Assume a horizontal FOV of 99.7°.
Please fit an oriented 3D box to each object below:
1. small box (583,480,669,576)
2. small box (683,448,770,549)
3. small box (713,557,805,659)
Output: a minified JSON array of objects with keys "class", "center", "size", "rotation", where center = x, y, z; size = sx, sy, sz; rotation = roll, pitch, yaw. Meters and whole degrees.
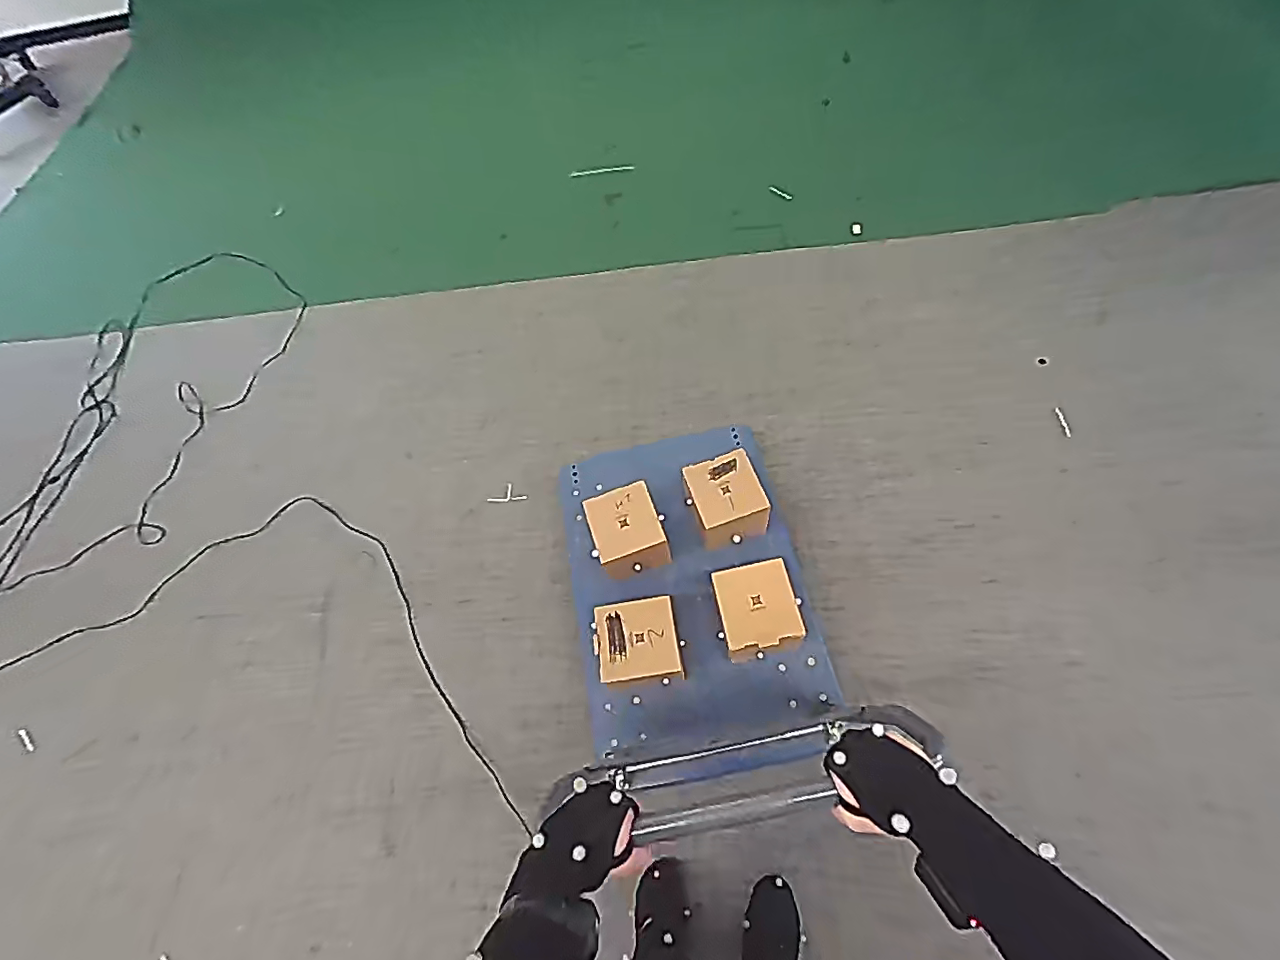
[{"class":"small box","center":[-0.031,0.132,1.383],"size":[0.168,0.176,0.179],"rotation":[-19,62,-3]},{"class":"small box","center":[0.217,0.052,1.388],"size":[0.168,0.176,0.179],"rotation":[-19,63,-1]},{"class":"small box","center":[0.265,0.301,1.256],"size":[0.168,0.176,0.179],"rotation":[-13,63,2]}]
